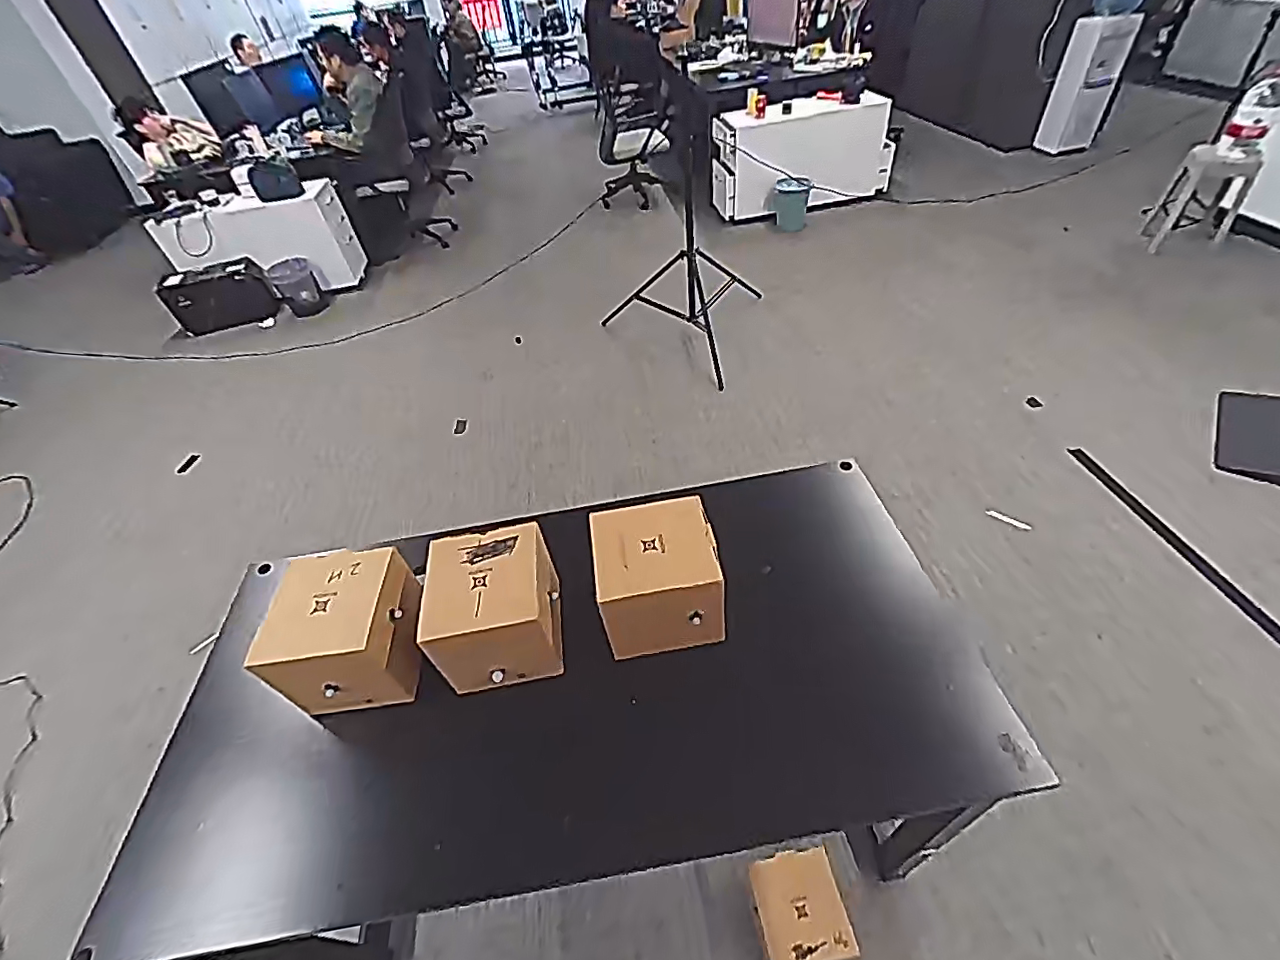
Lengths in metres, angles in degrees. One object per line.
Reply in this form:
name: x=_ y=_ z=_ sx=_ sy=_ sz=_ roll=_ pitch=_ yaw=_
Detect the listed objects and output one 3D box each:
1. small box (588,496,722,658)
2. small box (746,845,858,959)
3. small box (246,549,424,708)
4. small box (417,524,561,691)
small box: x=0.024 y=0.153 z=0.840 sx=0.179 sy=0.176 sz=0.168 roll=-11 pitch=44 yaw=-1
small box: x=0.317 y=0.879 z=1.101 sx=0.168 sy=0.176 sz=0.179 roll=-12 pitch=44 yaw=-2
small box: x=-0.442 y=0.233 z=0.830 sx=0.168 sy=0.176 sz=0.179 roll=-8 pitch=45 yaw=0
small box: x=-0.220 y=0.196 z=0.832 sx=0.168 sy=0.176 sz=0.179 roll=-10 pitch=46 yaw=-2
